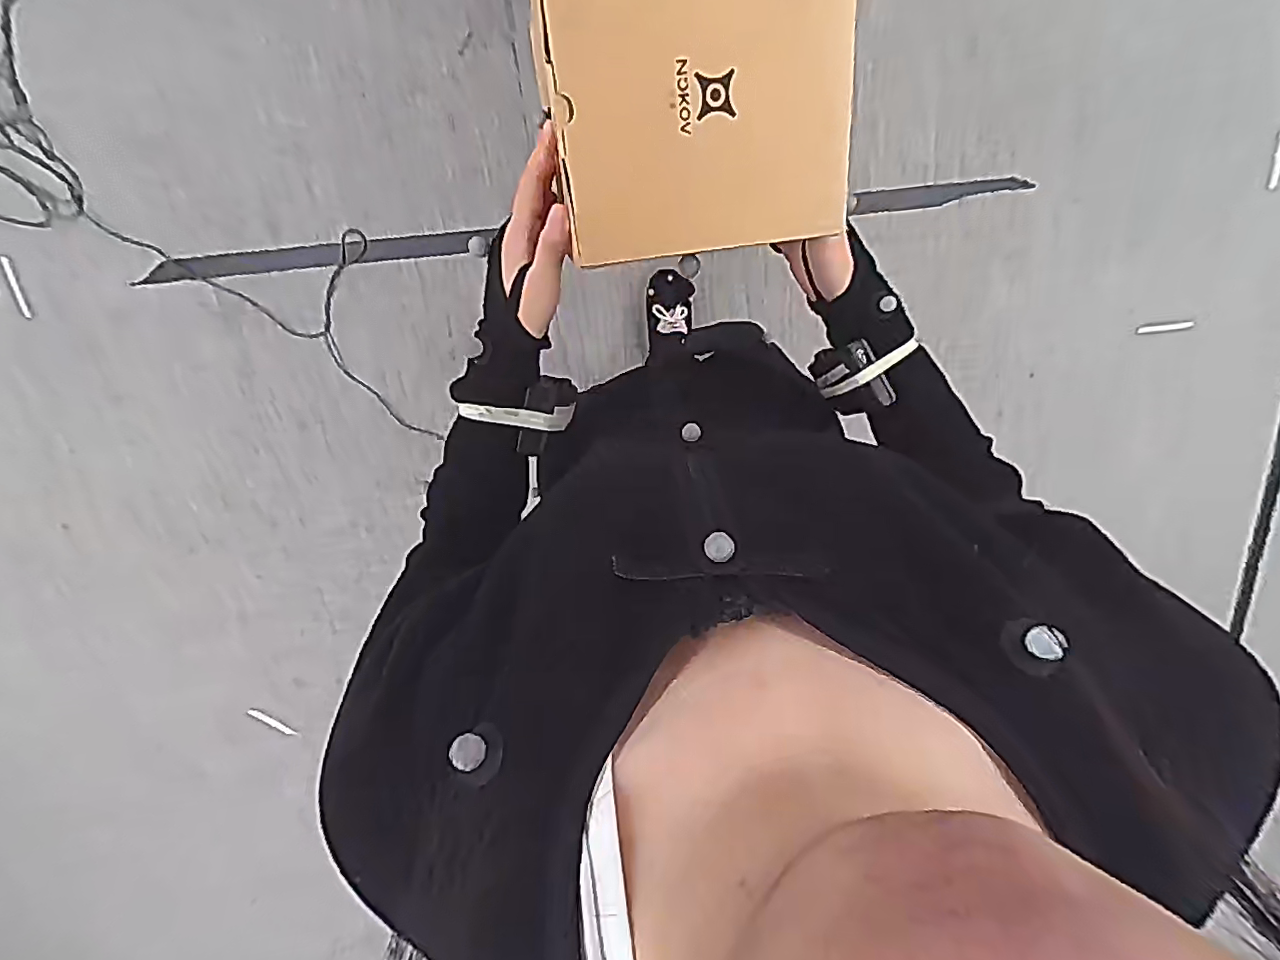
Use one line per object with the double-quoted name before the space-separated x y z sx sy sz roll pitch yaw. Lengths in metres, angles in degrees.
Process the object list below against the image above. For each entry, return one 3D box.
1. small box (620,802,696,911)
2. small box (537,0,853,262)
"small box" 0.043 0.983 1.424 0.179 0.176 0.168 -7 106 0
"small box" 0.026 -0.257 0.381 0.179 0.176 0.168 -9 116 -4
